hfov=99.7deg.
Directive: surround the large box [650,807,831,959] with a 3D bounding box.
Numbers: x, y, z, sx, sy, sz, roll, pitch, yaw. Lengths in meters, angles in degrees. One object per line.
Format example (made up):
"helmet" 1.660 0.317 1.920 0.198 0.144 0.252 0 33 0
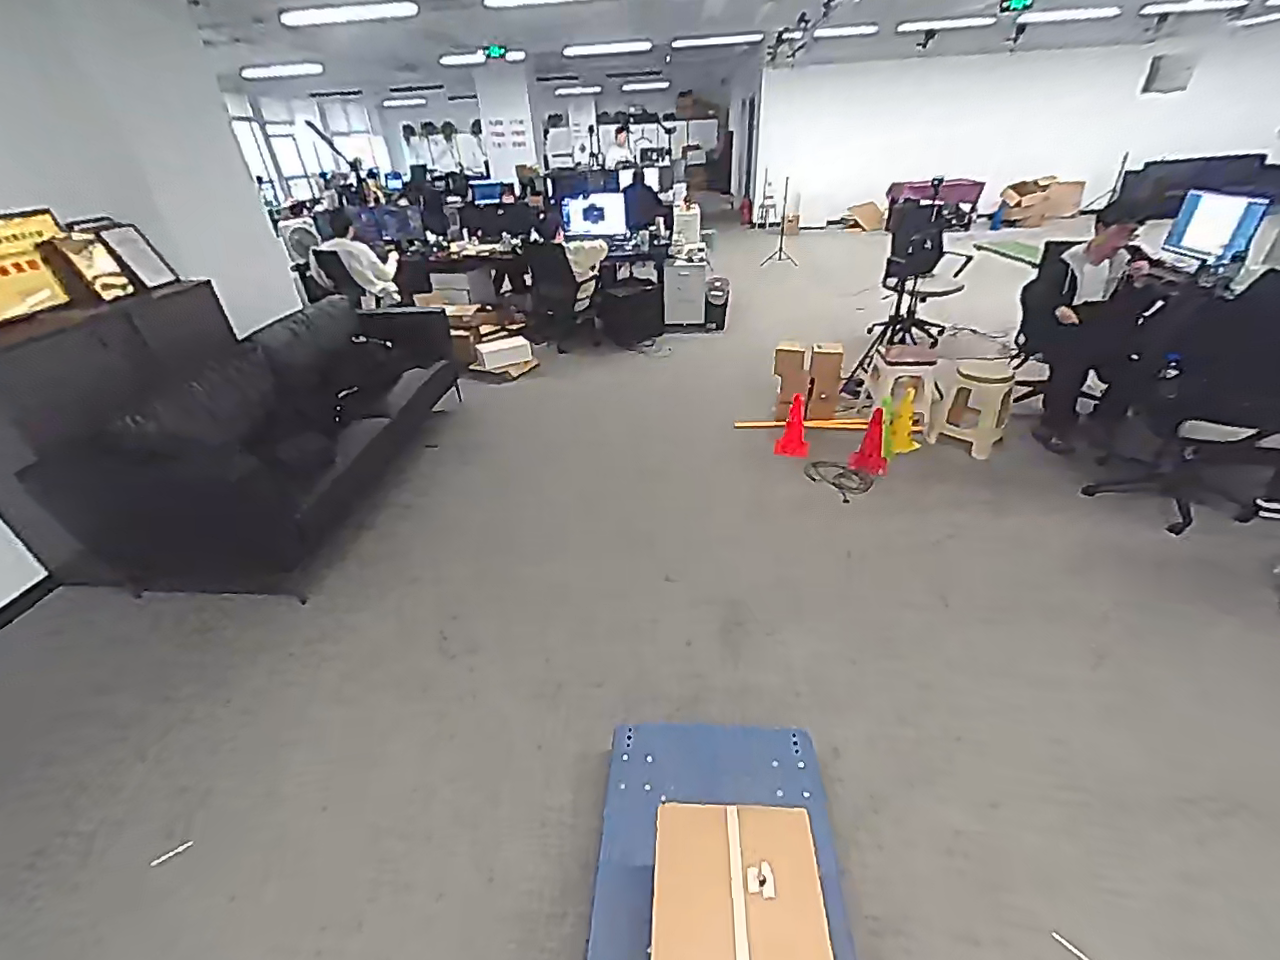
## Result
"large box" 0.184 0.924 1.047 0.320 0.320 0.408 -1 31 4
